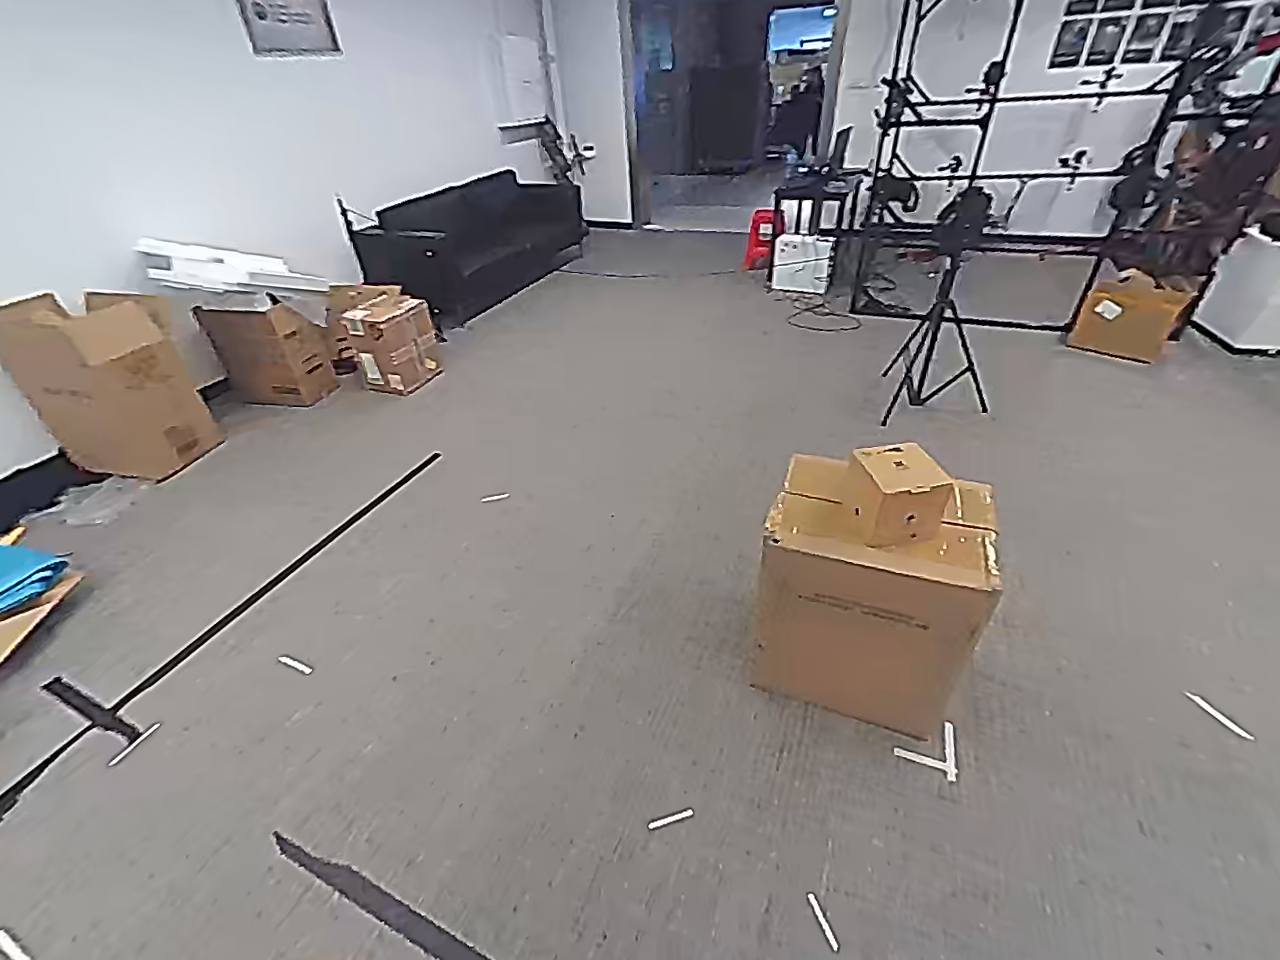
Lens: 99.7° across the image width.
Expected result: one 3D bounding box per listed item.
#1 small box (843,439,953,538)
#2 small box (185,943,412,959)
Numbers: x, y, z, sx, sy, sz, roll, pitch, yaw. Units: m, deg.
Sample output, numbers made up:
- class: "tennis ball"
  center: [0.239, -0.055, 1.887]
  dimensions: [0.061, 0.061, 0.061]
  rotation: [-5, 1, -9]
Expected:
- class: "small box"
  center: [0.612, 0.025, 1.305]
  dimensions: [0.168, 0.176, 0.179]
  rotation: [-8, 38, -3]
- class: "small box"
  center: [-0.230, 0.385, 0.304]
  dimensions: [0.168, 0.179, 0.176]
  rotation: [14, 54, -17]
